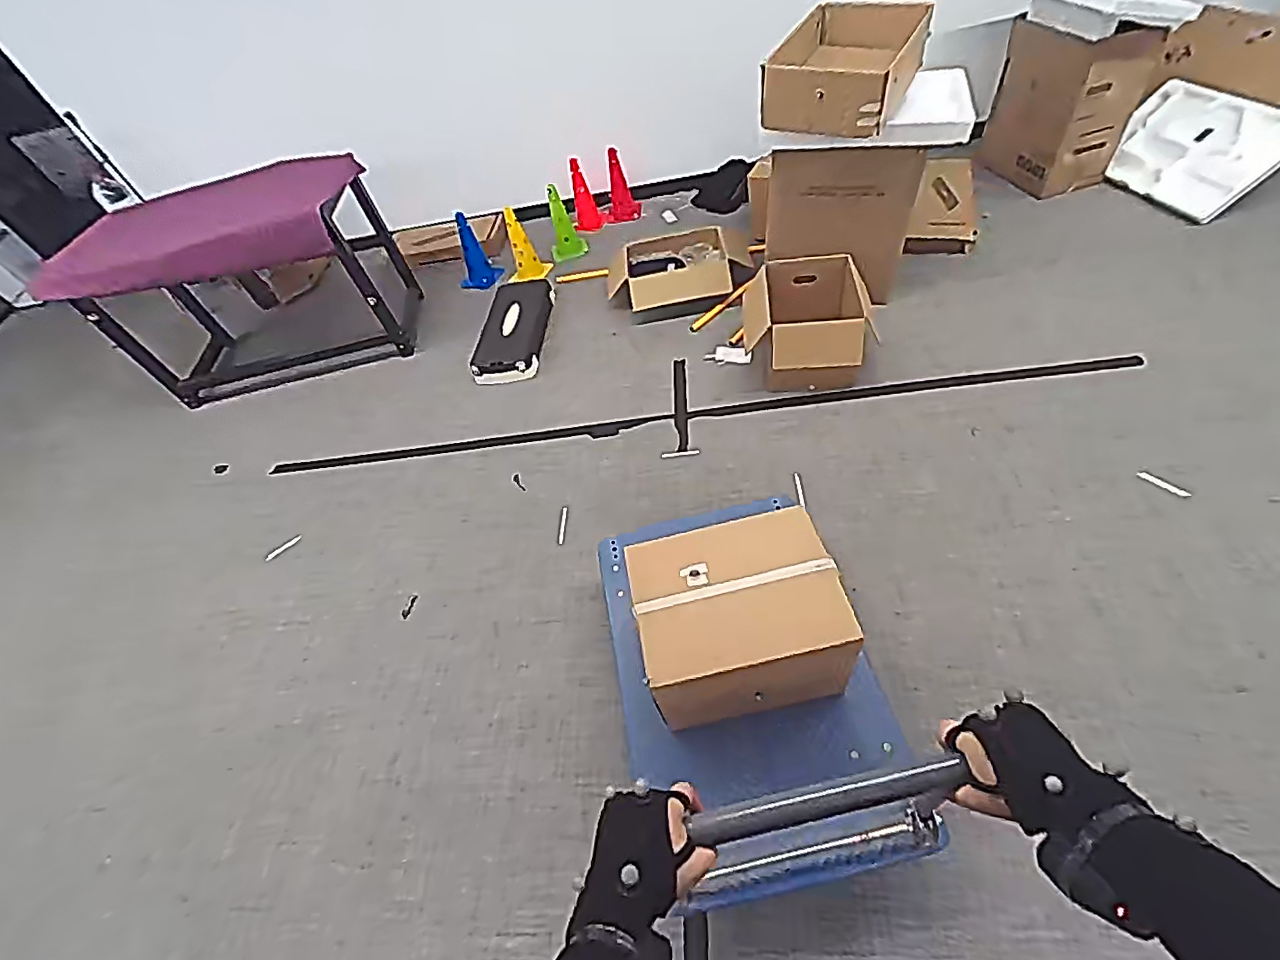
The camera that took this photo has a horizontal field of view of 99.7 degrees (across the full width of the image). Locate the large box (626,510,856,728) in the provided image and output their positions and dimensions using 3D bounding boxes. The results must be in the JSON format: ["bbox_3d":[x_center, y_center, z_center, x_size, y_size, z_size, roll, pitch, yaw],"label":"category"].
[{"bbox_3d":[0.214,0.320,1.216,0.408,0.320,0.320,-15,49,2],"label":"large box"}]
